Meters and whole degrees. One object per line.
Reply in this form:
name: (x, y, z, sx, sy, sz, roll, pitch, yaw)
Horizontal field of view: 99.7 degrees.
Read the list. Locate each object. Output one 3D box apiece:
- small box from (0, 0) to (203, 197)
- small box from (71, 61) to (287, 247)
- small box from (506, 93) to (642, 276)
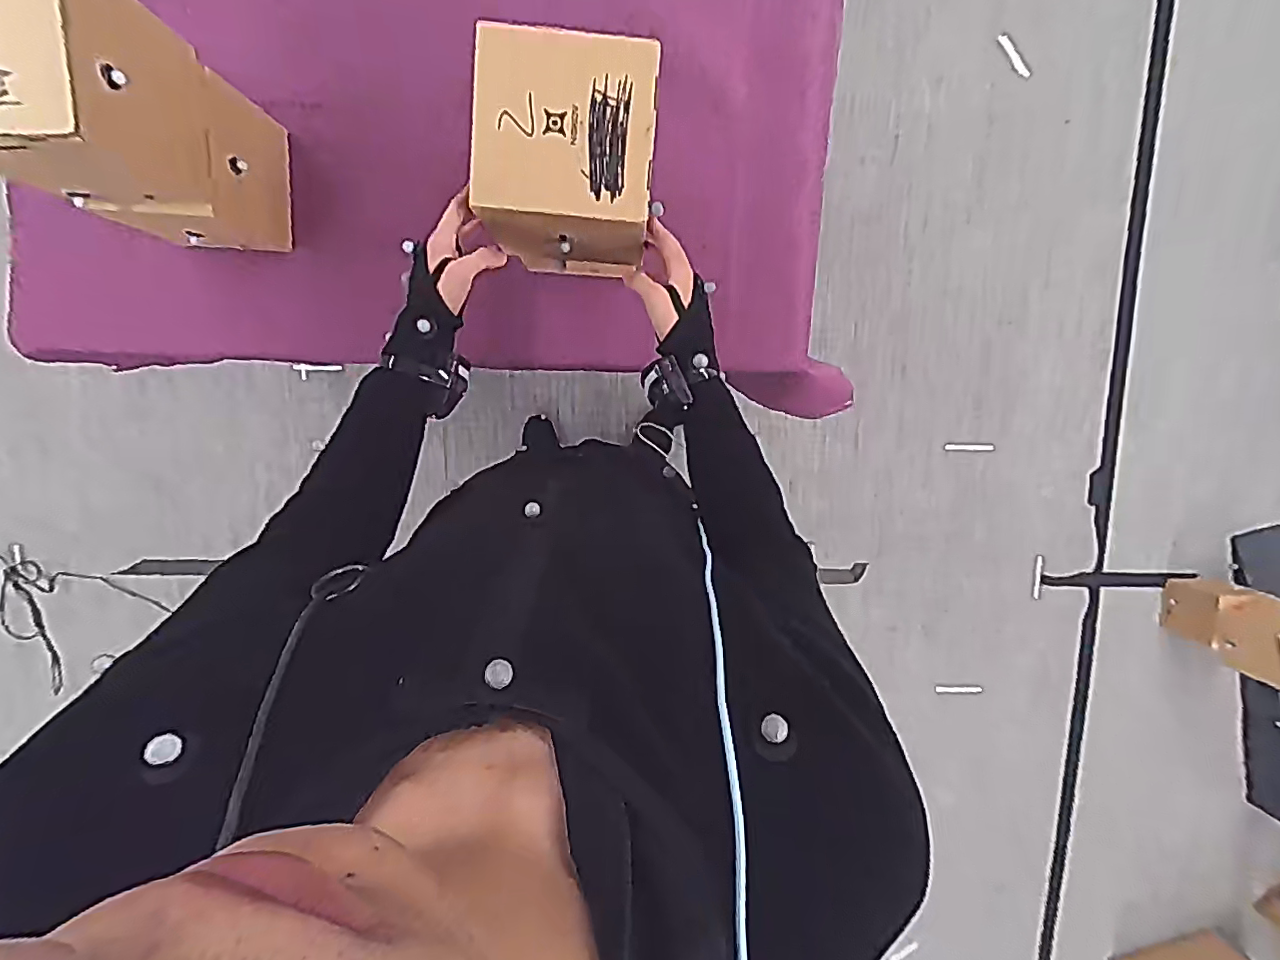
small box: (-0.601, -0.413, 0.562, 0.168, 0.176, 0.179, -1, 98, -3)
small box: (-0.604, -0.426, 0.726, 0.168, 0.176, 0.179, 3, 99, -4)
small box: (-0.086, -0.395, 0.755, 0.168, 0.176, 0.179, 3, 98, -2)
